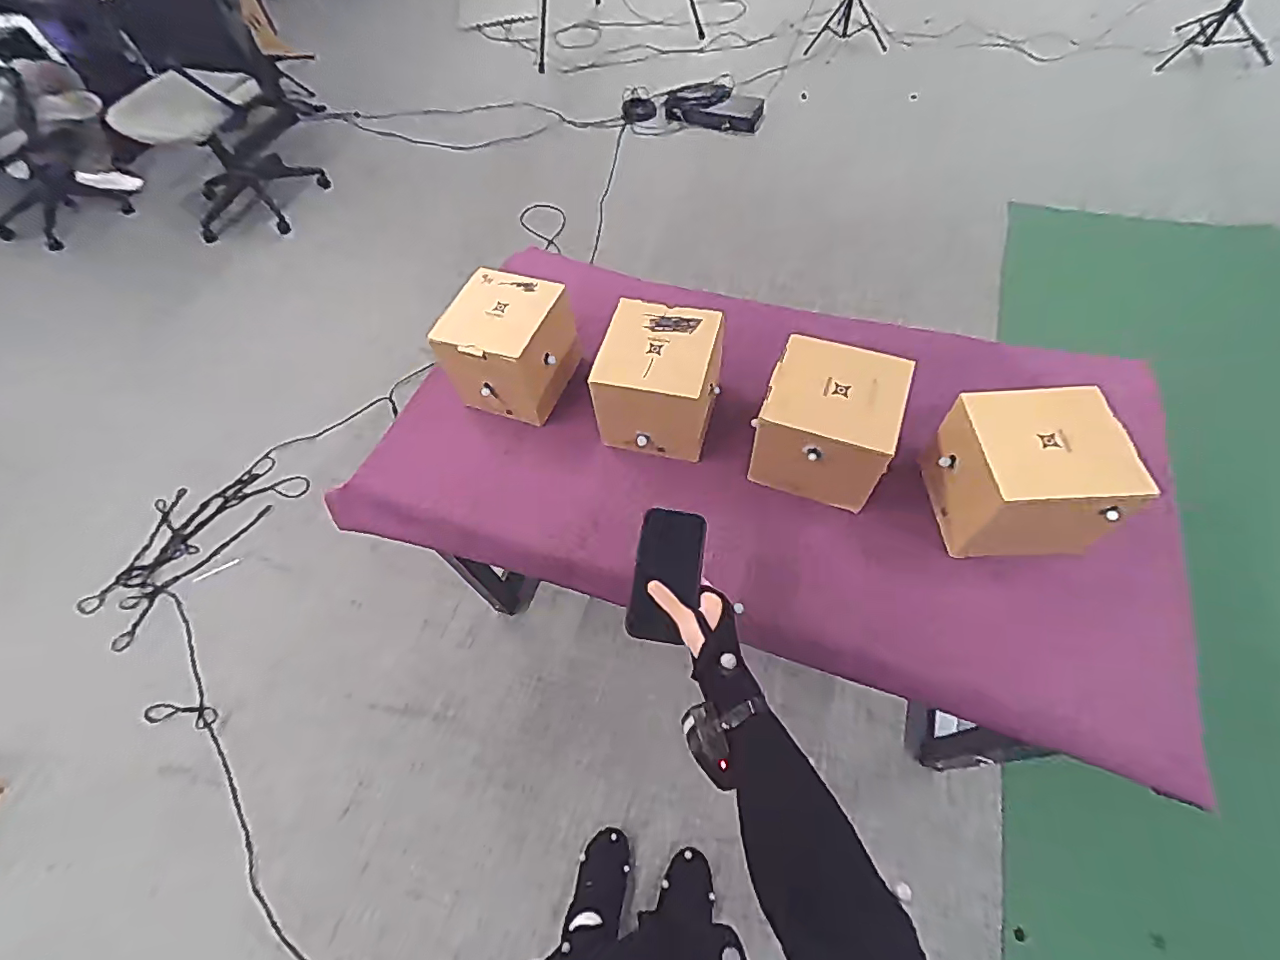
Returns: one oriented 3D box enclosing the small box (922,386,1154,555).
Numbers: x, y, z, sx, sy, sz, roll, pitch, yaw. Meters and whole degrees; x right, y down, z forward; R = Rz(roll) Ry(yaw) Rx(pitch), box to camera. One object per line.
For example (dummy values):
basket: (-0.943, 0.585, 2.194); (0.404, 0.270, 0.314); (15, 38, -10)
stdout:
small box: (0.508, -0.006, 0.731); (0.179, 0.176, 0.168); (-3, 58, 3)

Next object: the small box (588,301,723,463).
small box: (0.030, -0.154, 0.866); (0.168, 0.176, 0.179); (12, 61, 12)

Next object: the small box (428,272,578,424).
small box: (-0.221, -0.223, 0.932); (0.168, 0.176, 0.179); (16, 62, 15)

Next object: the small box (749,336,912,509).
small box: (0.270, -0.079, 0.800); (0.179, 0.176, 0.168); (19, 63, 15)
